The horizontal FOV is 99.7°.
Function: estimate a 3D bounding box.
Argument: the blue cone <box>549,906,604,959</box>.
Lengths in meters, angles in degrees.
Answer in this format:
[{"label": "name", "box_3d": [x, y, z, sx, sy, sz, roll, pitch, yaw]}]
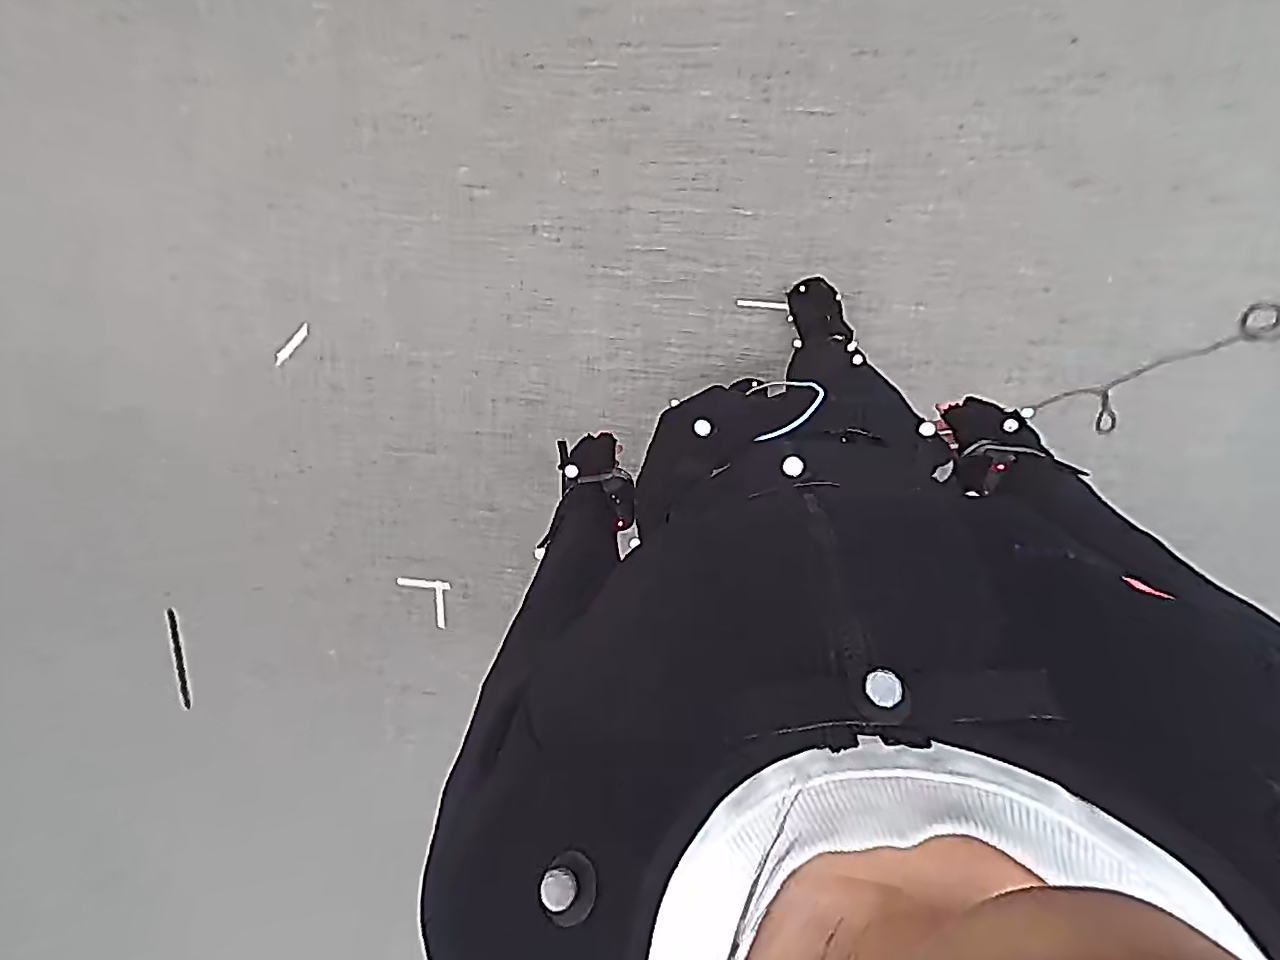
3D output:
[{"label": "blue cone", "box_3d": [-0.253, 1.623, 1.736, 0.192, 0.380, 0.193, 11, 105, 7]}]
